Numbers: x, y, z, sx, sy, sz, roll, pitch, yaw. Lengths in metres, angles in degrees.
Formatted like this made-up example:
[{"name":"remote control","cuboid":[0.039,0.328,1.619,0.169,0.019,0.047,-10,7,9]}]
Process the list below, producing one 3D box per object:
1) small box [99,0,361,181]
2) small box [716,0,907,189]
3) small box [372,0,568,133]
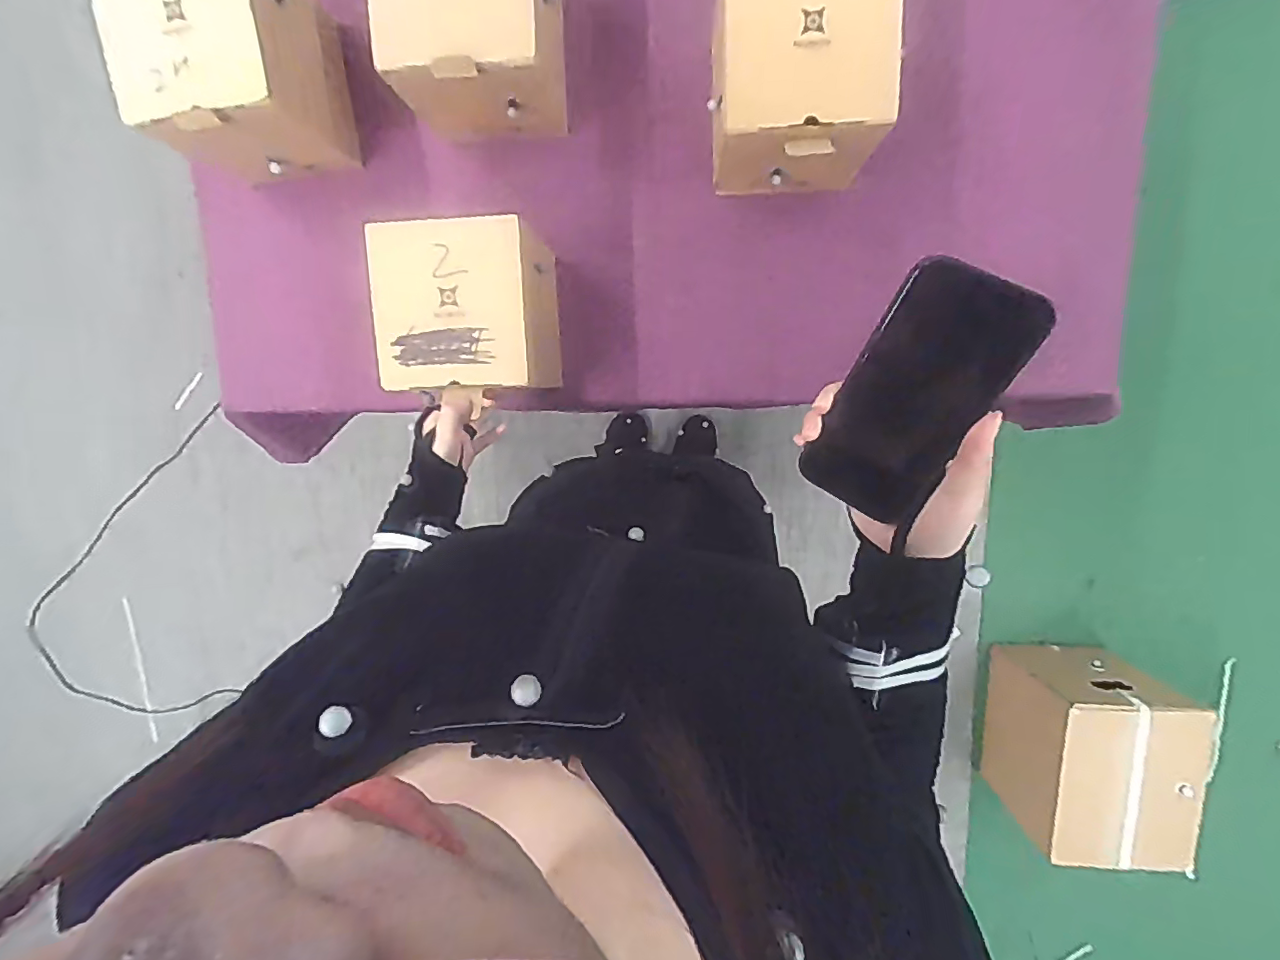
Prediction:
[{"name":"small box","cuboid":[-0.455,-0.476,0.622,0.168,0.176,0.179,-6,99,5]},{"name":"small box","cuboid":[0.170,-0.441,0.584,0.168,0.176,0.179,-1,100,5]},{"name":"small box","cuboid":[-0.176,-0.508,0.598,0.168,0.176,0.179,0,100,3]}]
